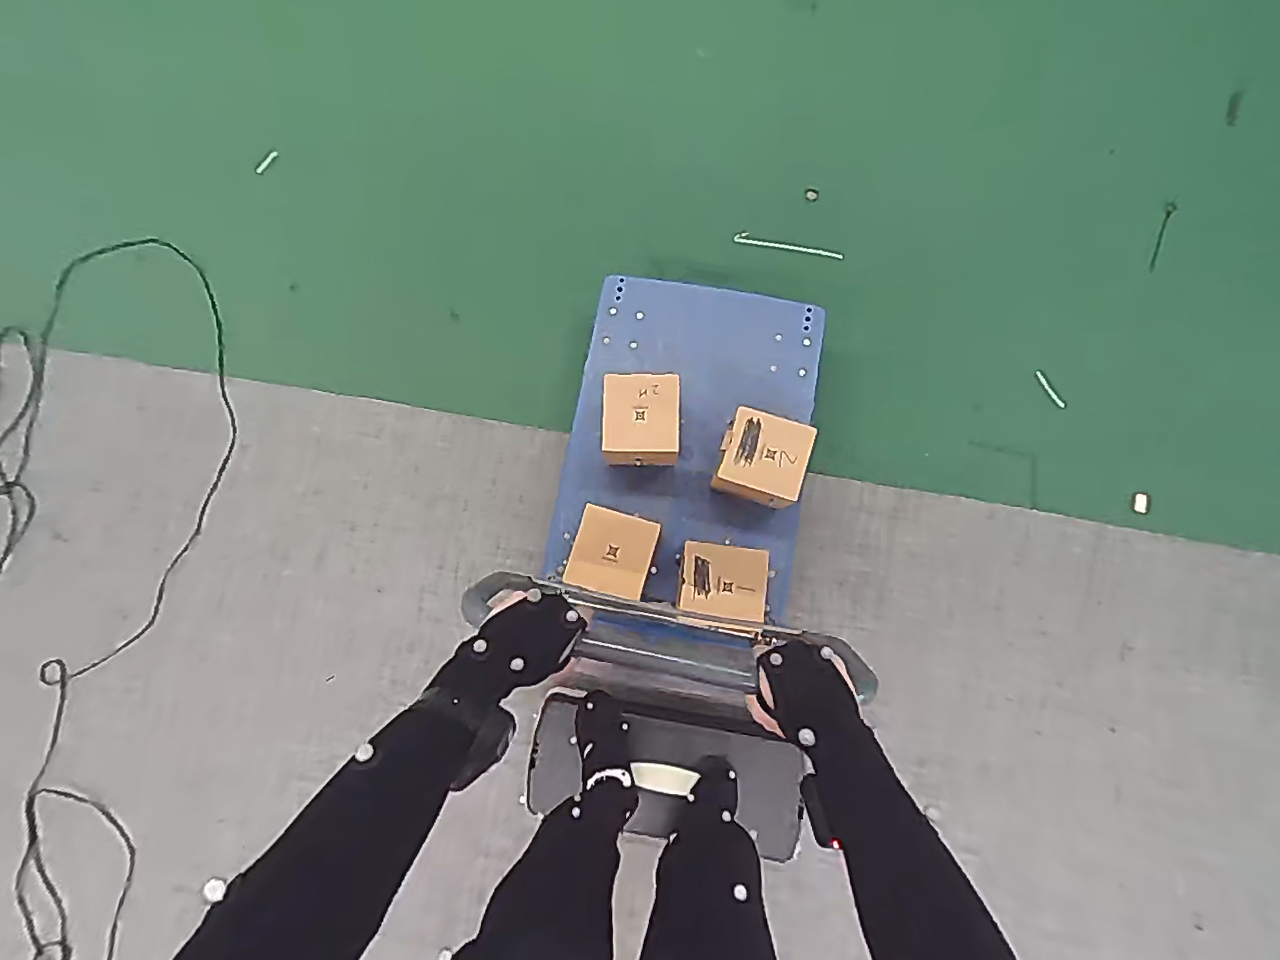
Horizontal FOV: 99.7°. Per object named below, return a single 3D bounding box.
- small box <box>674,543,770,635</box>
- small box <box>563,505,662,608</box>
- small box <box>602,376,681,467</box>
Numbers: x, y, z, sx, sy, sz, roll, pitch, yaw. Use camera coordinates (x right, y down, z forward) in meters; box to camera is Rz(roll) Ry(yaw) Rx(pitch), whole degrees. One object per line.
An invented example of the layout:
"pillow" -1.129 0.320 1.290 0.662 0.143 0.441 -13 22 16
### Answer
"small box" 0.171 0.233 1.174 0.179 0.176 0.168 8 82 2
"small box" -0.056 0.168 1.194 0.168 0.176 0.179 17 82 4
"small box" 0.008 -0.127 1.237 0.168 0.176 0.179 2 81 2
